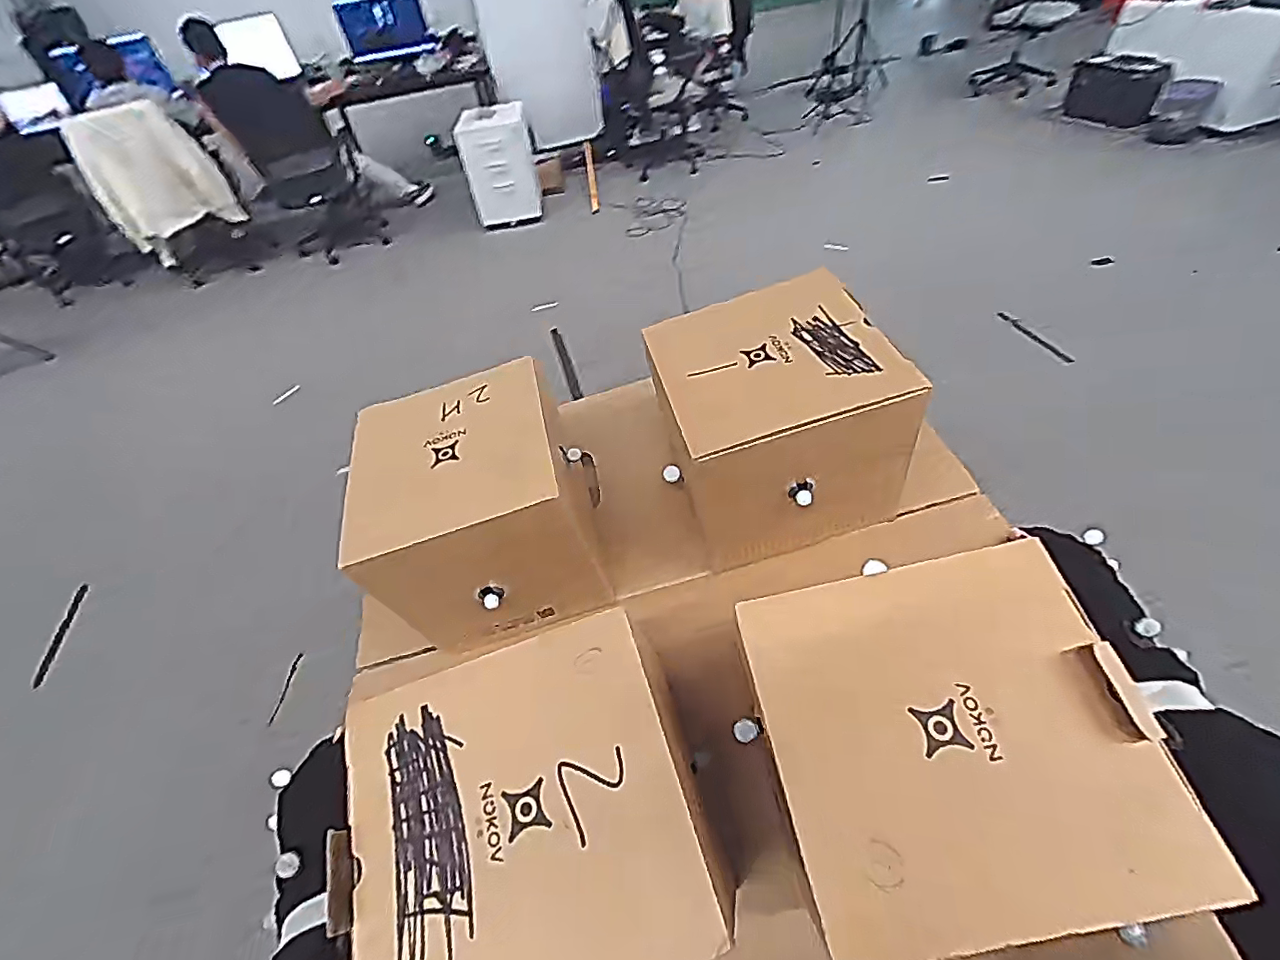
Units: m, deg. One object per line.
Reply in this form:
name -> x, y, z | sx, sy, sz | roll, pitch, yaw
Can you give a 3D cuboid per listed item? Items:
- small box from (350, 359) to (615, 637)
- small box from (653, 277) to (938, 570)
small box -> -0.130, 0.026, 0.496 | 0.168, 0.176, 0.179 | -17, 49, 1
small box -> 0.124, -0.044, 0.484 | 0.179, 0.176, 0.168 | -17, 50, 2
